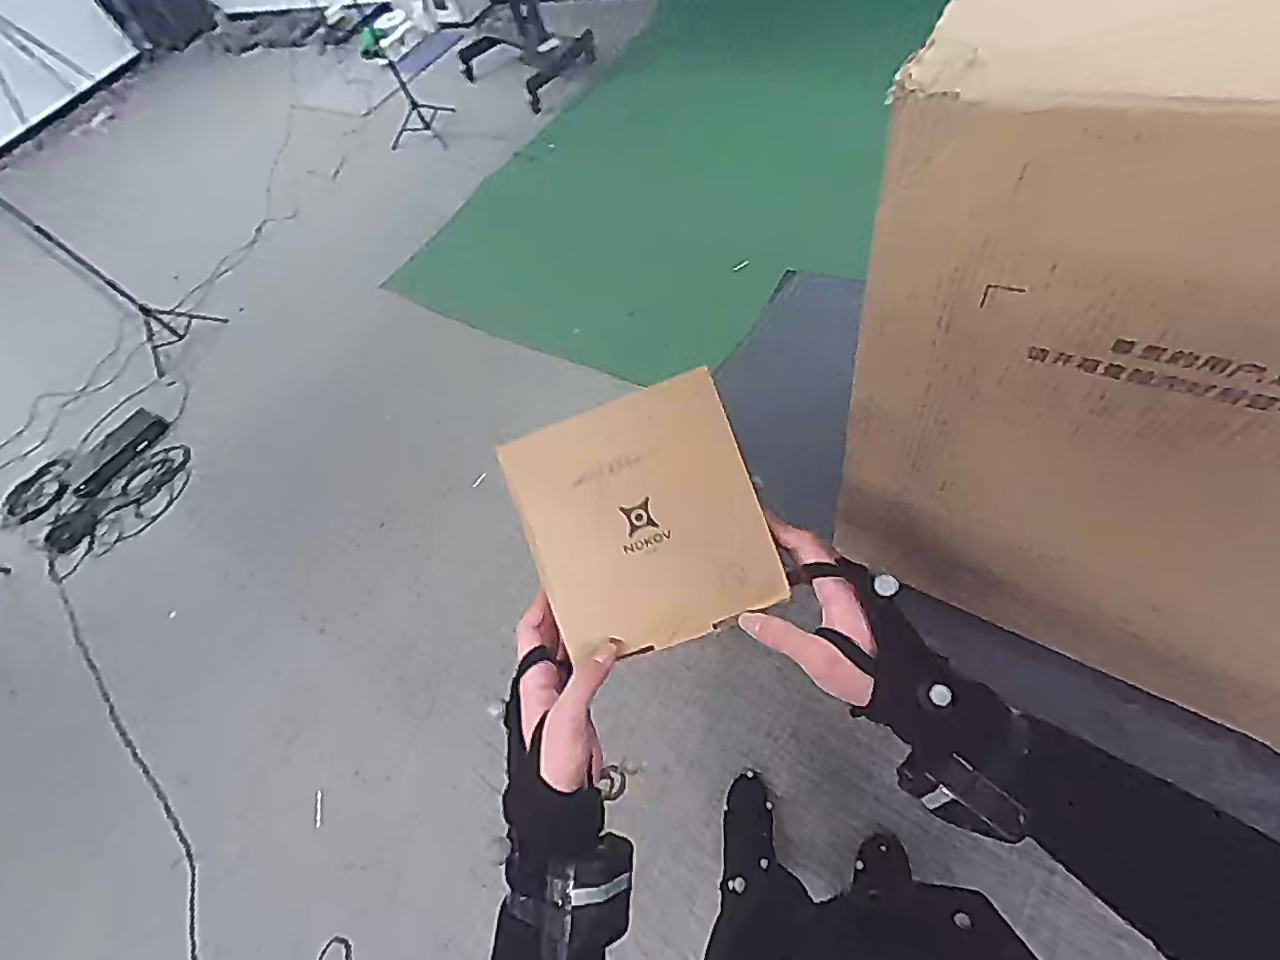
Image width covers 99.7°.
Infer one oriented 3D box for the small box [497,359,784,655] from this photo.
[{"bbox_3d":[0.005,0.021,0.466,0.168,0.176,0.179,-20,87,3],"label":"small box"}]
